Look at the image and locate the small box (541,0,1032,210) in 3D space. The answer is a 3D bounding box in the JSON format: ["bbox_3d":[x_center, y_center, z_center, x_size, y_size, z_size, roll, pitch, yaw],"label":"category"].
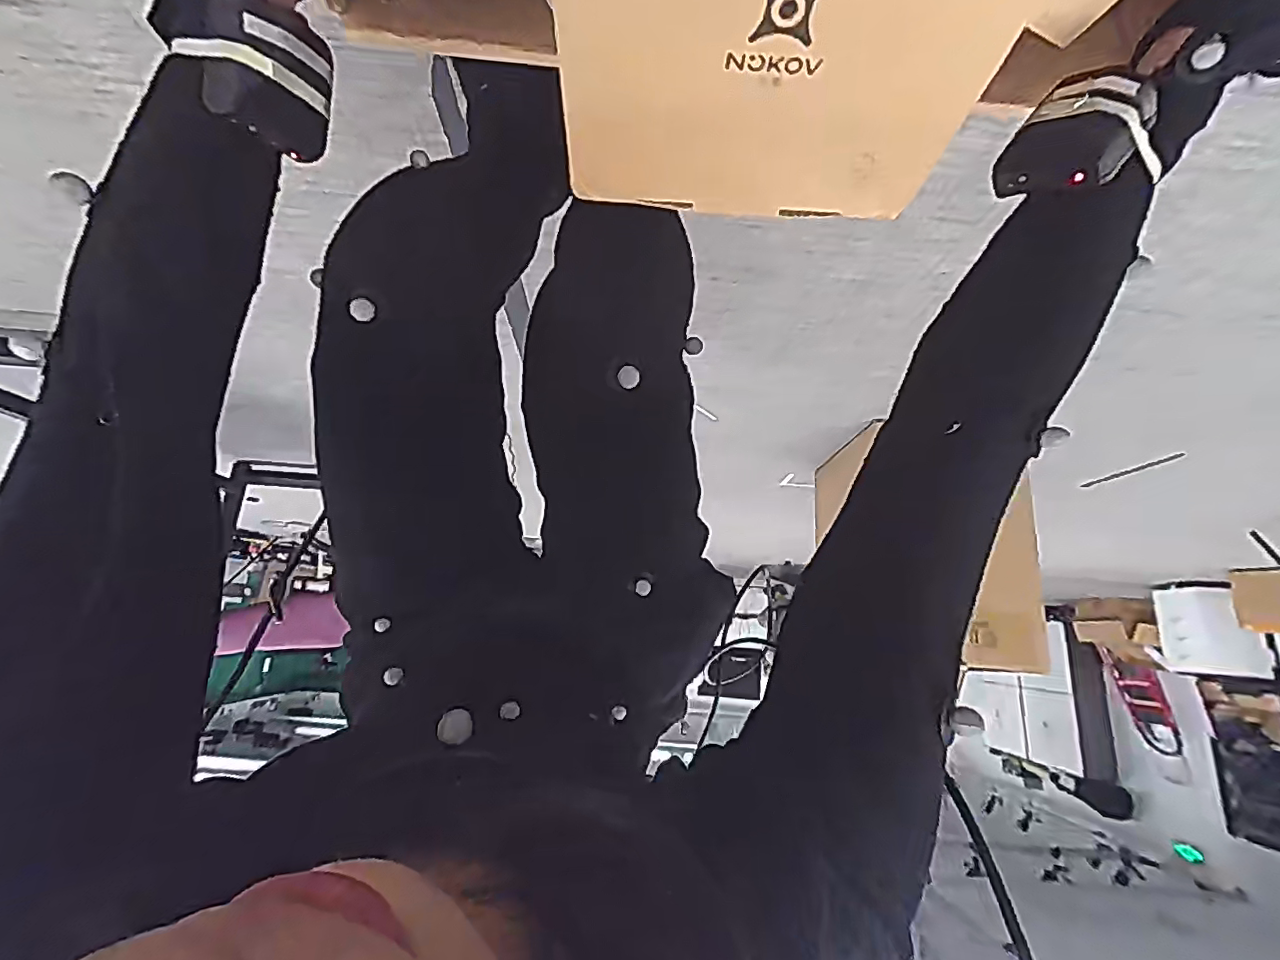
[{"bbox_3d":[0.052,-0.239,0.203,0.168,0.176,0.179,3,163,0],"label":"small box"}]
